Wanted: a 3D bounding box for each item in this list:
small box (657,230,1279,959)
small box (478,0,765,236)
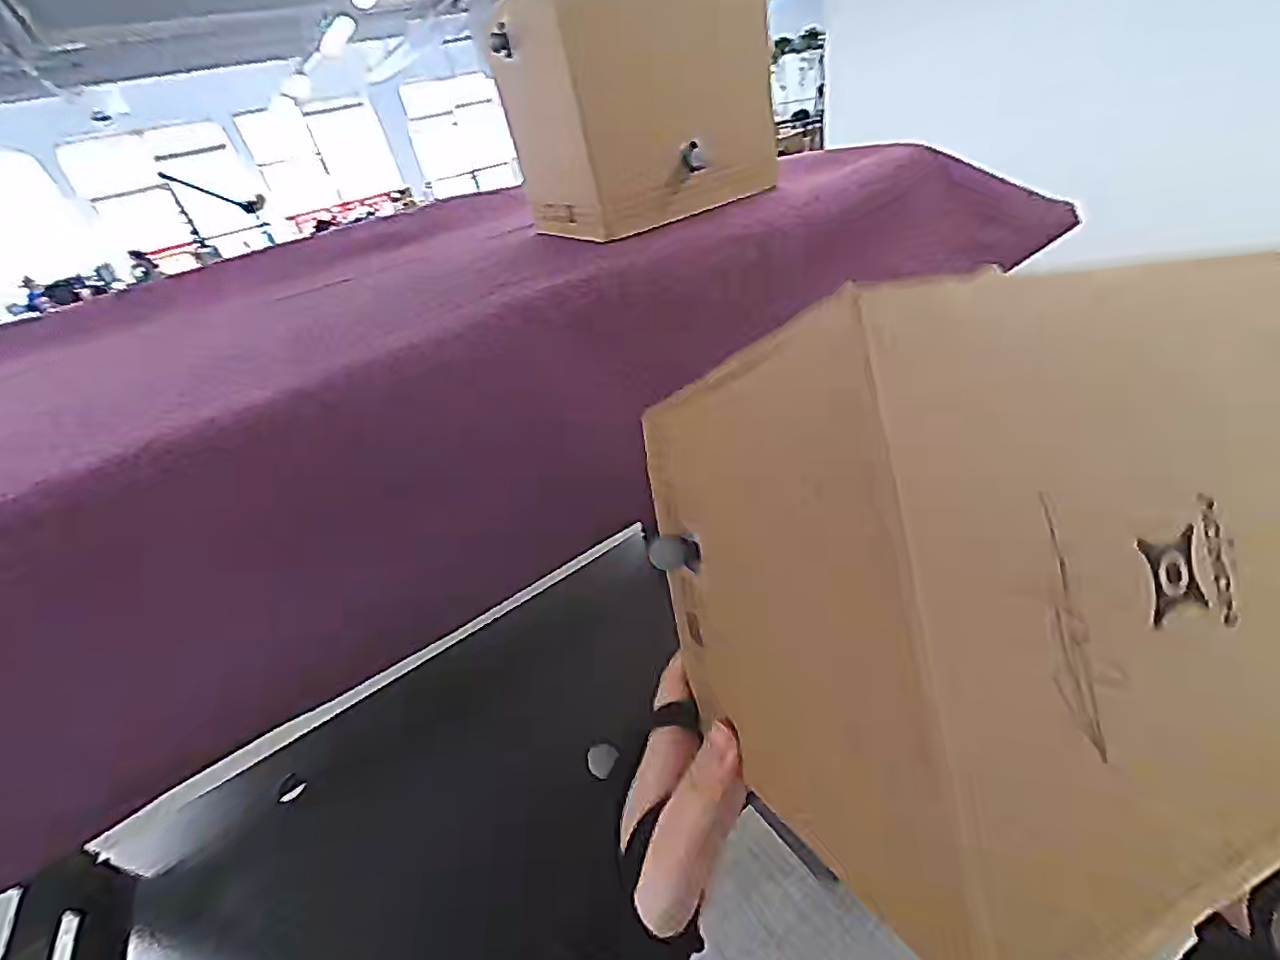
[{"bbox_3d":[0.124,0.022,0.215,0.179,0.168,0.176,-10,-2,-17],"label":"small box"},{"bbox_3d":[-0.009,-0.322,0.459,0.179,0.176,0.168,-27,34,-19],"label":"small box"}]
